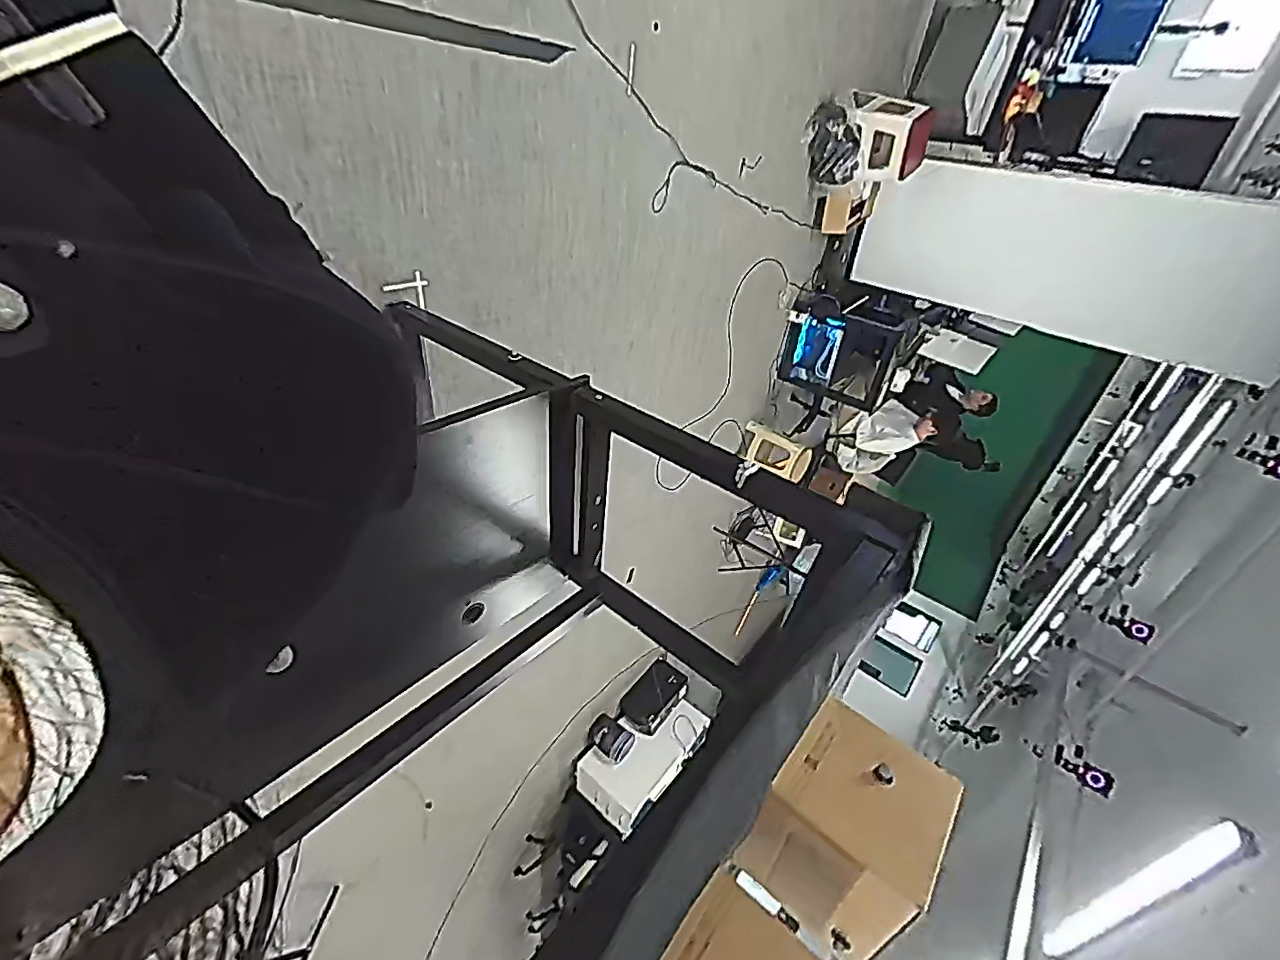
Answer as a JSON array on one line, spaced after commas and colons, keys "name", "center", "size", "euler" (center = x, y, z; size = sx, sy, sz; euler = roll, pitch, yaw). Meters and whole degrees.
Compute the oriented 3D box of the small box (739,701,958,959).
[{"name": "small box", "center": [0.238, 0.397, 0.642], "size": [0.168, 0.176, 0.179], "euler": [-29, 139, -44]}]
